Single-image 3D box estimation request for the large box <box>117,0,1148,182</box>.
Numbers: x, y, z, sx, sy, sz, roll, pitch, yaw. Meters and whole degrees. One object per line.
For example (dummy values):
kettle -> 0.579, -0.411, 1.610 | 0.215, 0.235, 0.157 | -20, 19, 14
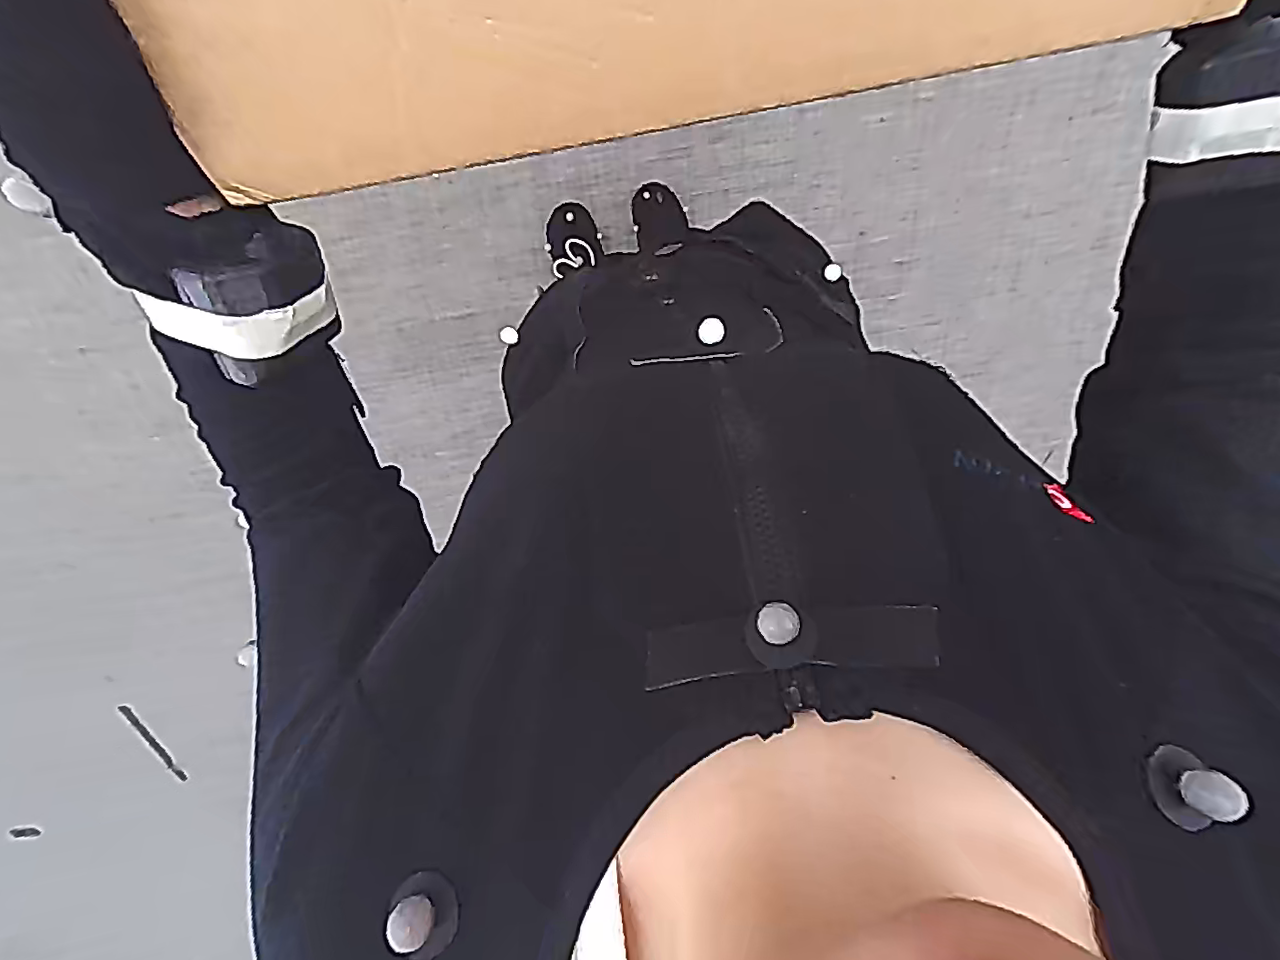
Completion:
large box -> -0.010, -0.369, 0.202 | 0.408, 0.320, 0.320 | -9, 139, 2
